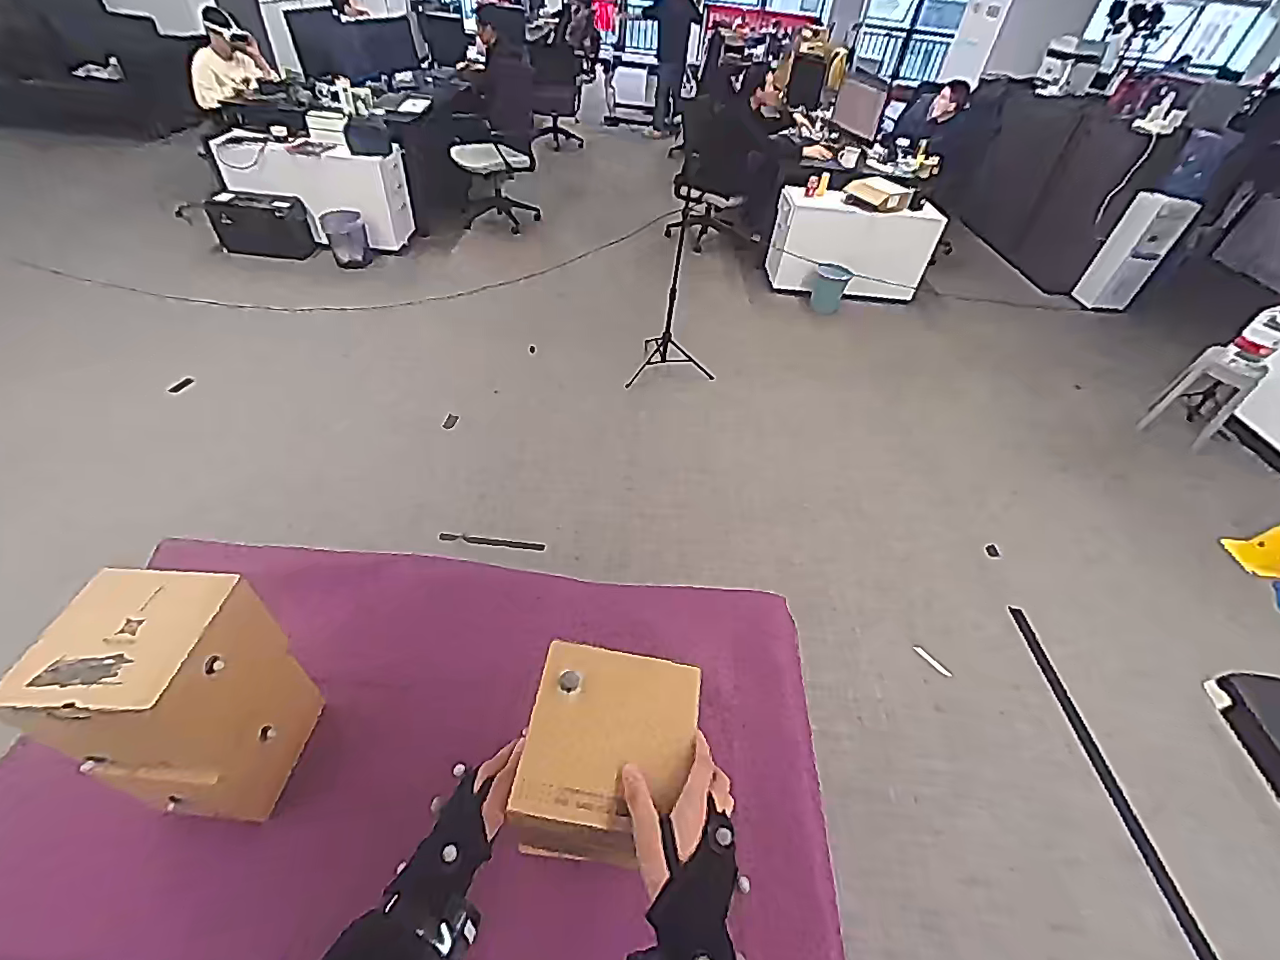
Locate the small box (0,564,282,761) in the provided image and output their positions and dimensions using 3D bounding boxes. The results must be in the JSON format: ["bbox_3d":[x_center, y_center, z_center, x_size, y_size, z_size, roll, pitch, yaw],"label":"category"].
[{"bbox_3d":[-0.582,0.226,0.664,0.168,0.176,0.179,4,44,-4],"label":"small box"}]

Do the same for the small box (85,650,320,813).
[{"bbox_3d":[-0.594,0.352,0.770,0.168,0.176,0.179,8,44,-1],"label":"small box"}]

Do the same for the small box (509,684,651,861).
[{"bbox_3d":[-0.078,0.420,0.773,0.168,0.176,0.179,7,43,0],"label":"small box"}]
